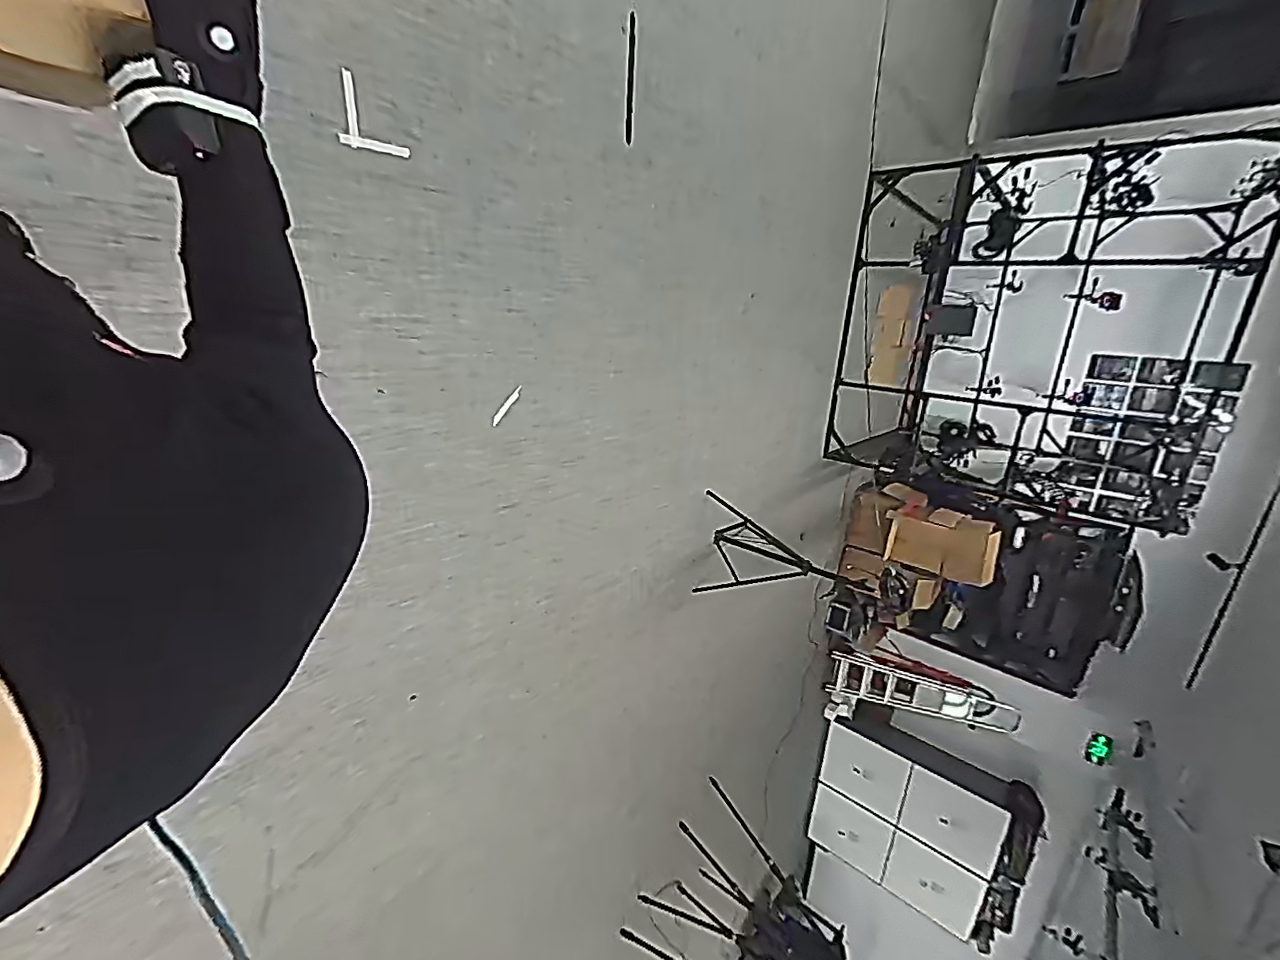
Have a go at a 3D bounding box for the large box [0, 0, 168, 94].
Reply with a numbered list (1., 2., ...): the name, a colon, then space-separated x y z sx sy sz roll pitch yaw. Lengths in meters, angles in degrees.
1. large box: -0.571 -0.455 0.286 0.408 0.320 0.320 -16 124 -50
